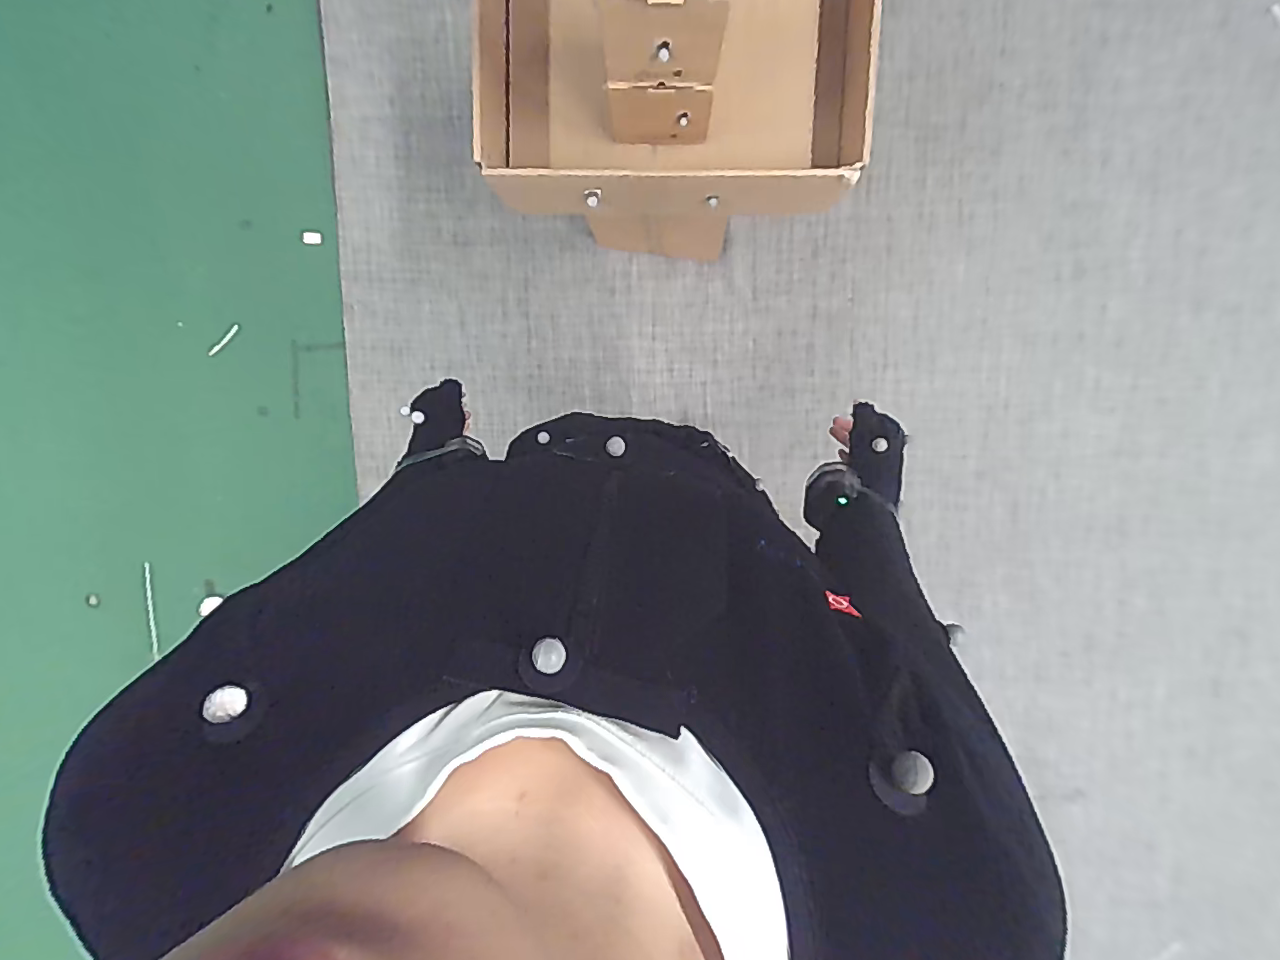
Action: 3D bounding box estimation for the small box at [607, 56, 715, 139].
[{"bbox_3d":[0.036,-0.683,0.879,0.168,0.176,0.179,0,95,1],"label":"small box"}]

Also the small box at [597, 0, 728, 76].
[{"bbox_3d":[0.033,-0.673,0.716,0.168,0.176,0.179,1,98,1],"label":"small box"}]
